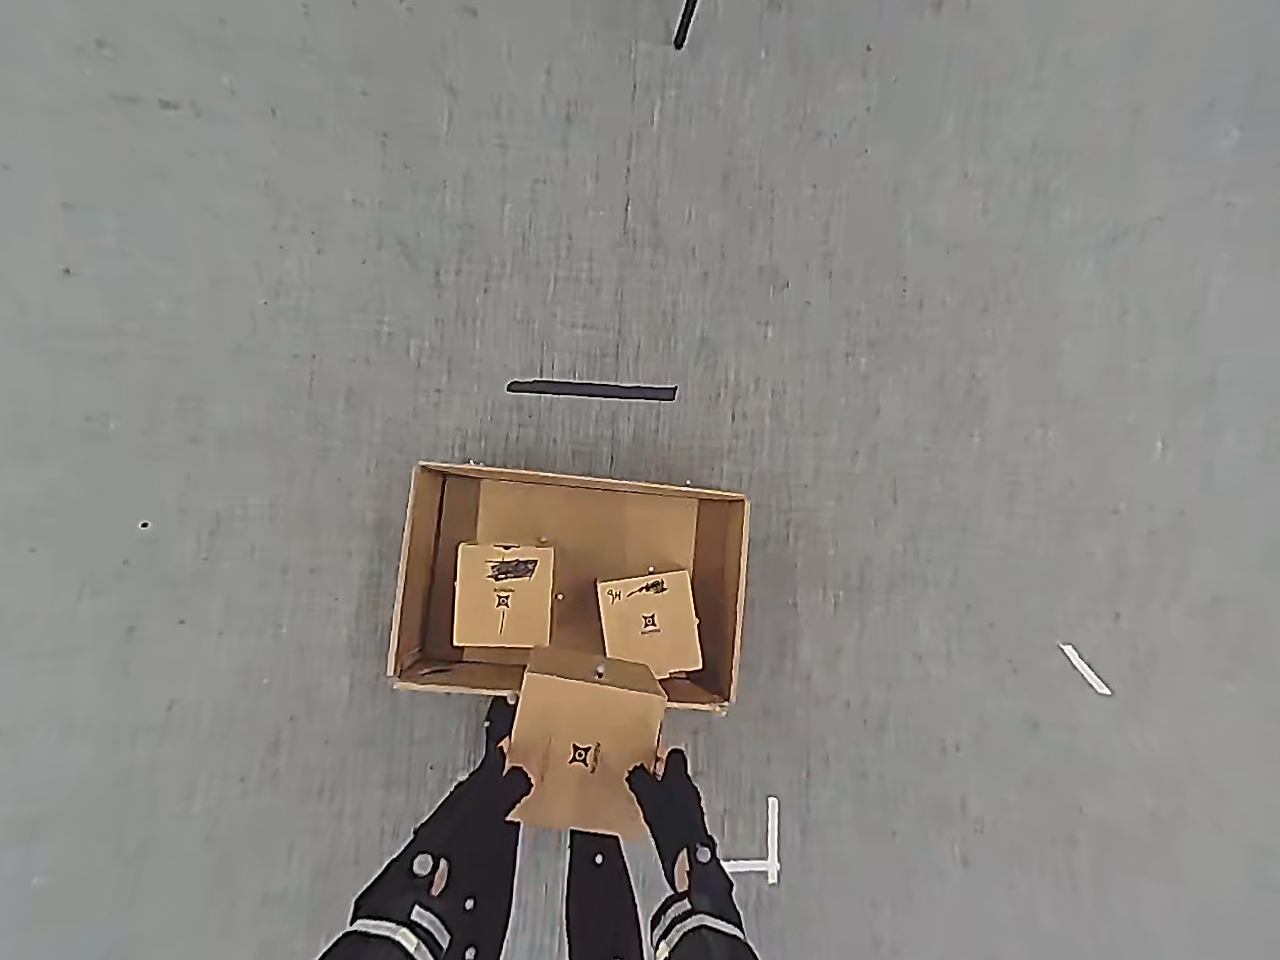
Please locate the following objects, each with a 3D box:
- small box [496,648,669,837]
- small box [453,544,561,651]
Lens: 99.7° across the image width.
[{"bbox_3d":[-0.075,0.328,0.708,0.179,0.176,0.168,12,82,-7],"label":"small box"},{"bbox_3d":[-0.238,0.210,1.006,0.168,0.176,0.179,3,85,-4],"label":"small box"}]
